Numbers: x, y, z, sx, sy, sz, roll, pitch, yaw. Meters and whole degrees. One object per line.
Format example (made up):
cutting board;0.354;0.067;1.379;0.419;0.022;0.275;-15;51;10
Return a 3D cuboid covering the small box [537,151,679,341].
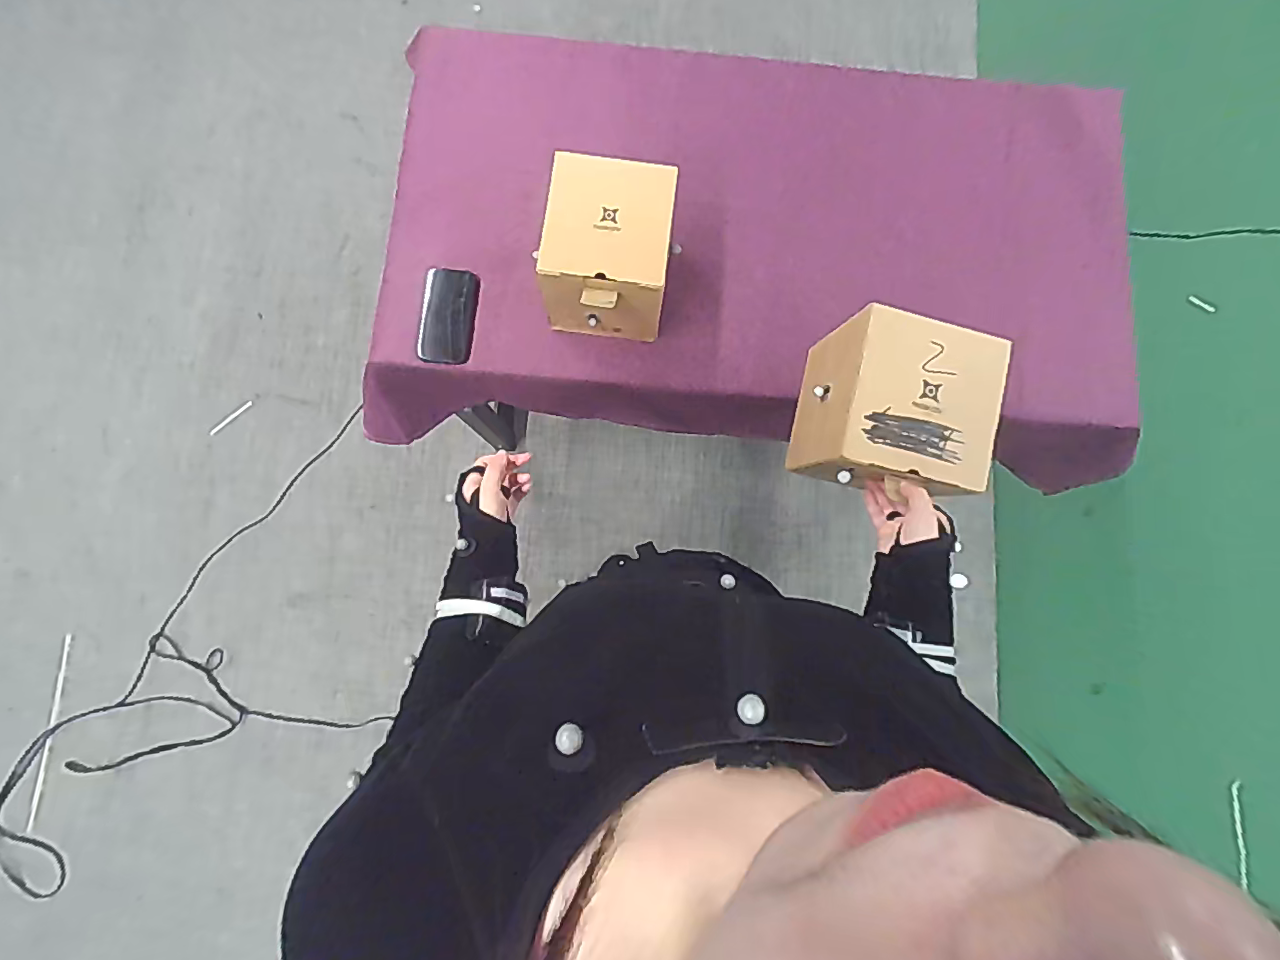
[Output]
small box;-0.045;-0.324;0.778;0.168;0.176;0.179;8;81;-2
